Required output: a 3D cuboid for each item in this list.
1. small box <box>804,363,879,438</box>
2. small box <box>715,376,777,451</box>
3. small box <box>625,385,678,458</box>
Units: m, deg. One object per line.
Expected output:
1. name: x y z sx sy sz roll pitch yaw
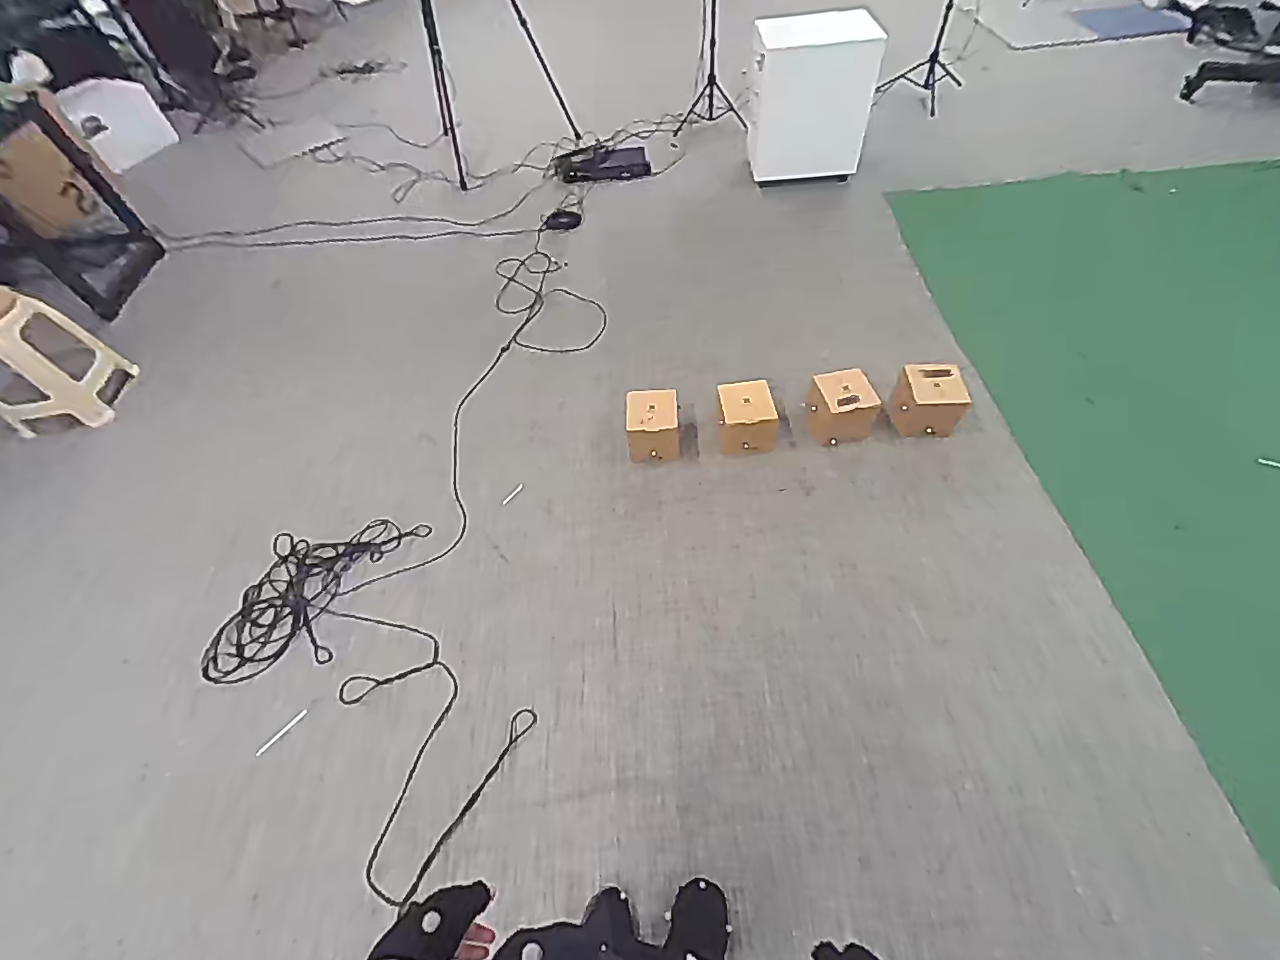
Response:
1. small box: 0.663 -0.257 1.800 0.168 0.176 0.179 -11 54 -3
2. small box: 0.347 -0.220 1.804 0.168 0.176 0.179 -8 55 0
3. small box: 0.043 -0.195 1.815 0.168 0.176 0.179 -3 55 5
